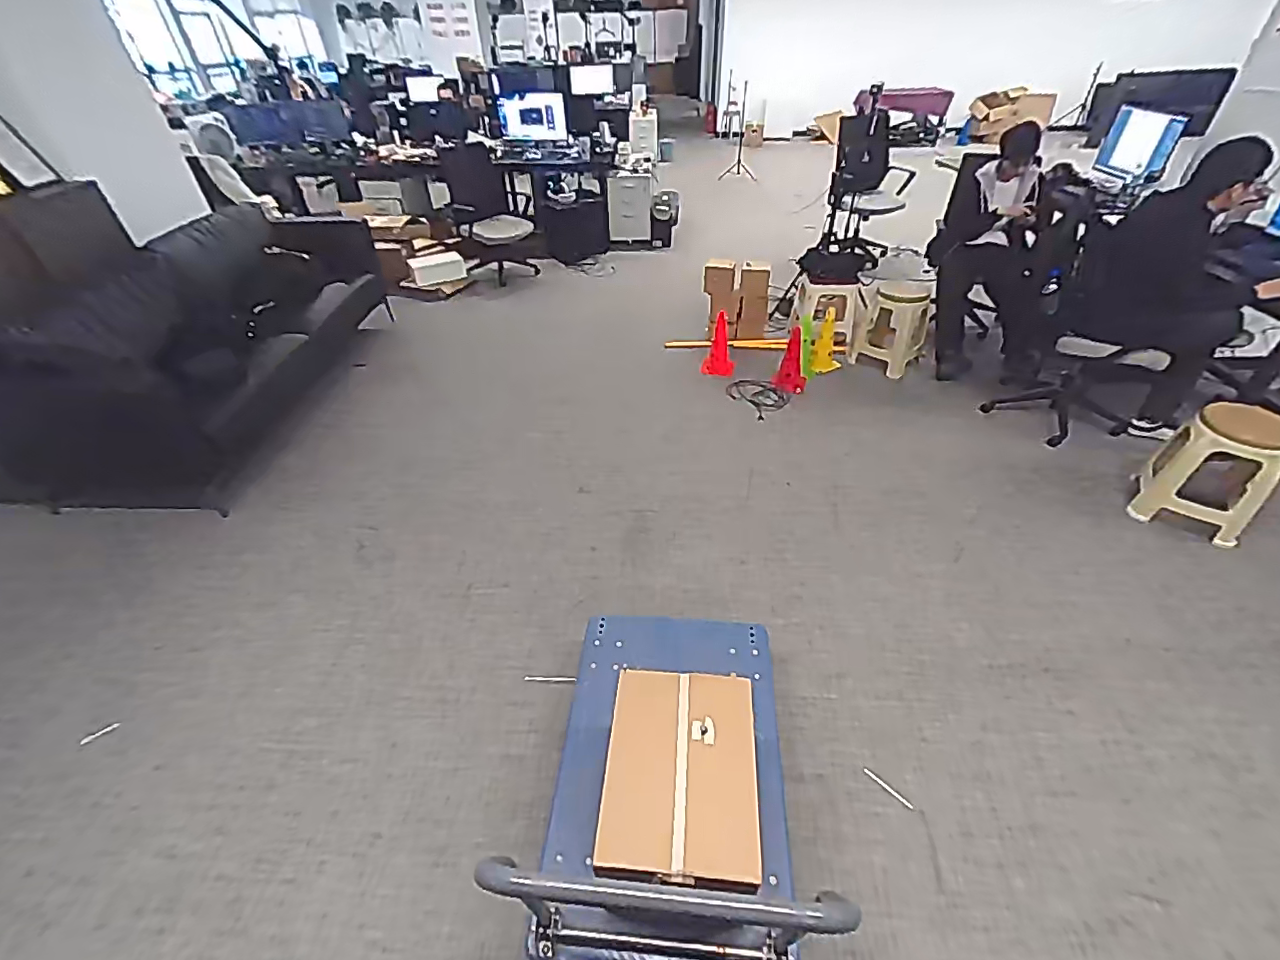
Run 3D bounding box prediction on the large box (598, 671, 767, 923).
[{"bbox_3d":[0.096,0.701,1.216,0.320,0.320,0.408,3,40,5],"label":"large box"}]
